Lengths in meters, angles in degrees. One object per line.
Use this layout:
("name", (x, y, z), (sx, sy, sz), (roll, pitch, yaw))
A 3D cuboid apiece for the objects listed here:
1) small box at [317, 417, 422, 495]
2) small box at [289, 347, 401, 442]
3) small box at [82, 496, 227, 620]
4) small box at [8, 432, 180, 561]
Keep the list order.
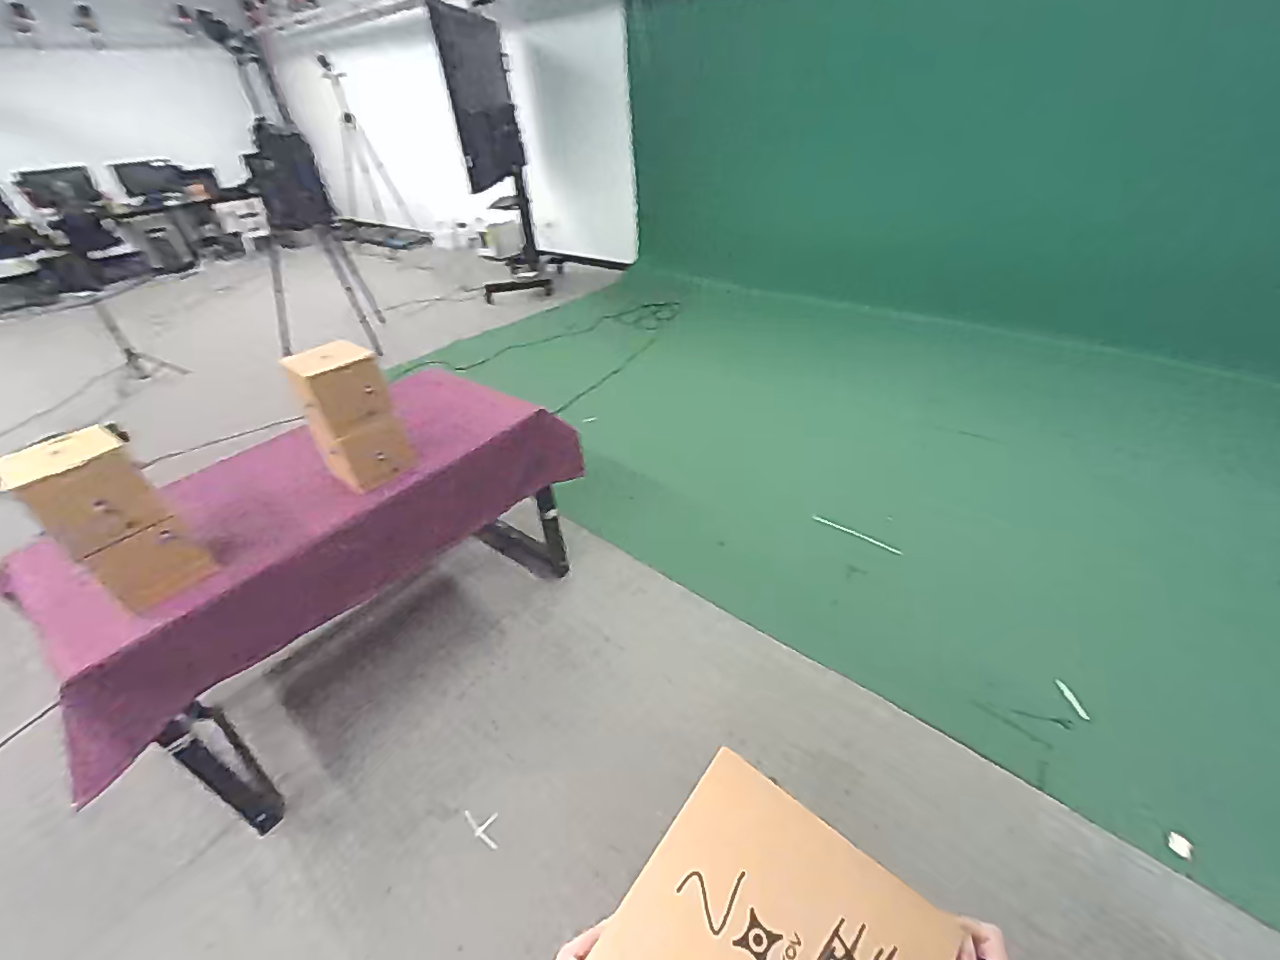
("small box", (-0.721, -0.081, 1.457), (0.179, 0.176, 0.168), (23, 44, 34))
("small box", (-0.738, -0.215, 1.365), (0.179, 0.176, 0.168), (24, 45, 36))
("small box", (-1.043, 0.166, 1.159), (0.168, 0.176, 0.179), (20, 42, 32))
("small box", (-1.062, 0.033, 1.064), (0.179, 0.176, 0.168), (20, 42, 32))
